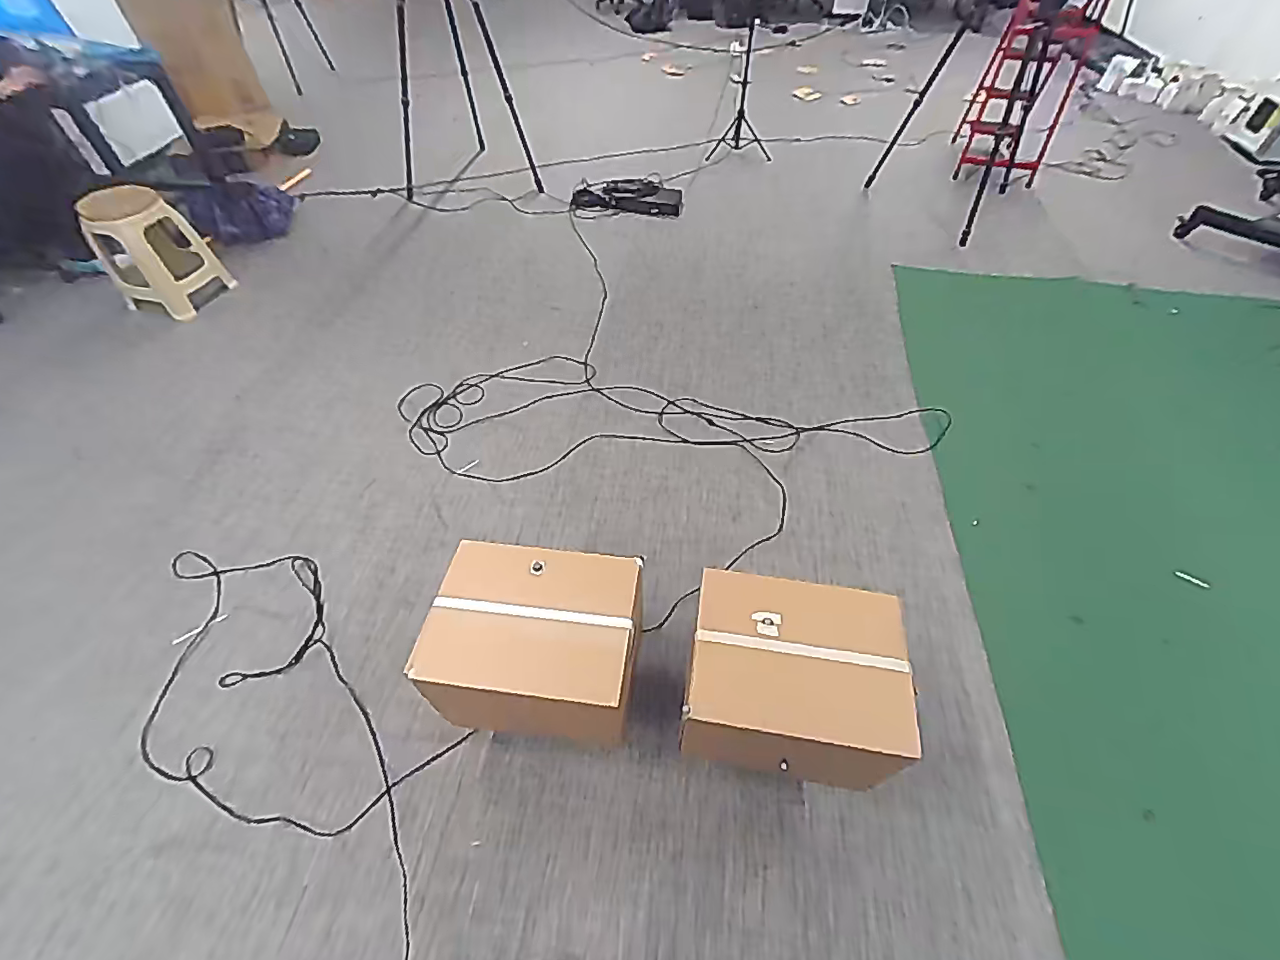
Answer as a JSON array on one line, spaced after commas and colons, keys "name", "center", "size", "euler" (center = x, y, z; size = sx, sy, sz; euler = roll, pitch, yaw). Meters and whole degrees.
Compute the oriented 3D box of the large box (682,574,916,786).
[{"name": "large box", "center": [0.312, 0.435, 1.165], "size": [0.408, 0.320, 0.320], "euler": [7, 51, 7]}]
